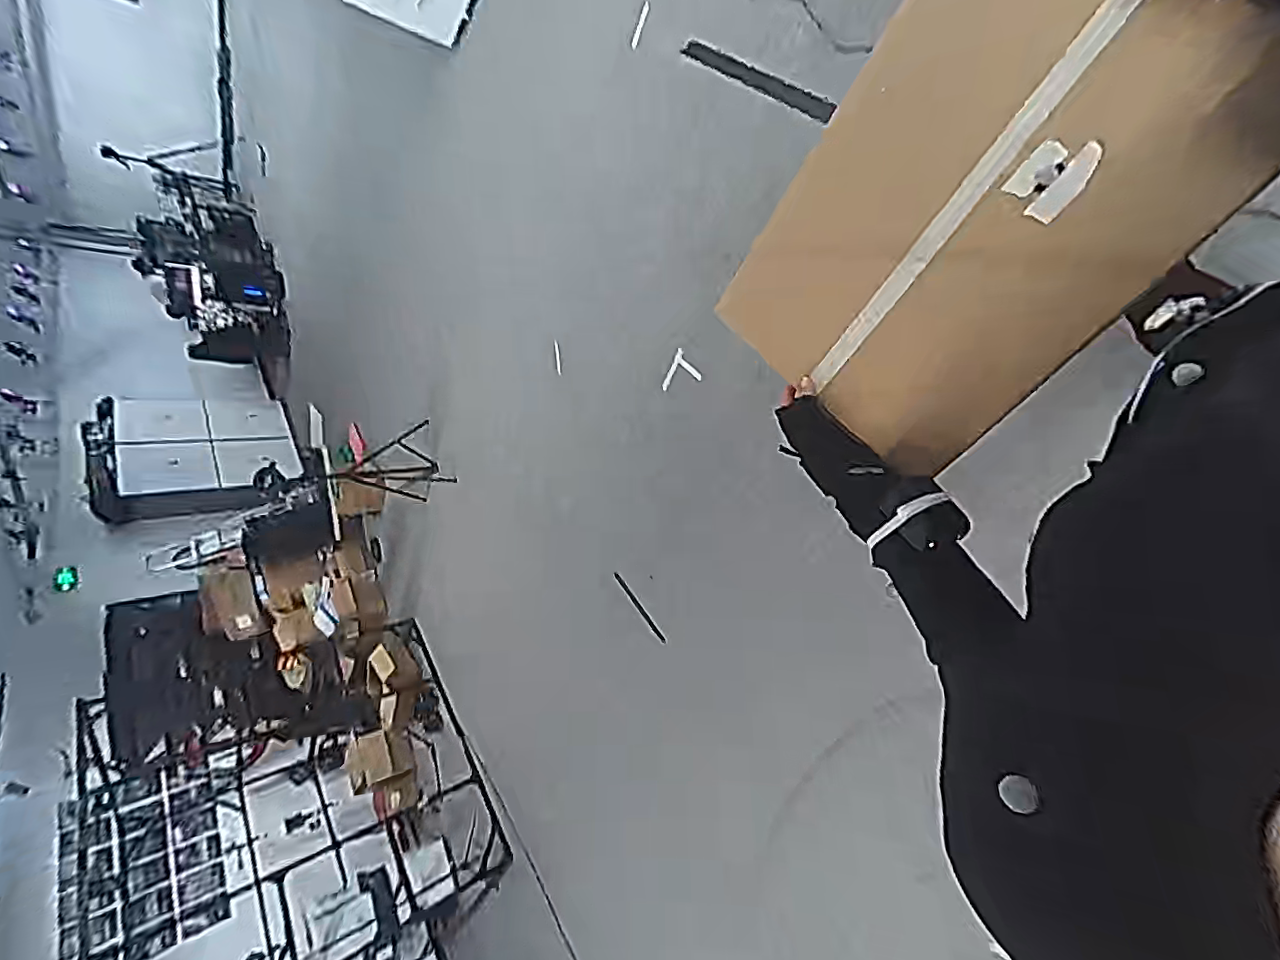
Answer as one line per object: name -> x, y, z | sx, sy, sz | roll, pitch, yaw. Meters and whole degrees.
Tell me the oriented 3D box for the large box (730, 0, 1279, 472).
large box -> 0.385, -0.276, 0.619 | 0.320, 0.320, 0.408 | 48, 129, 19
